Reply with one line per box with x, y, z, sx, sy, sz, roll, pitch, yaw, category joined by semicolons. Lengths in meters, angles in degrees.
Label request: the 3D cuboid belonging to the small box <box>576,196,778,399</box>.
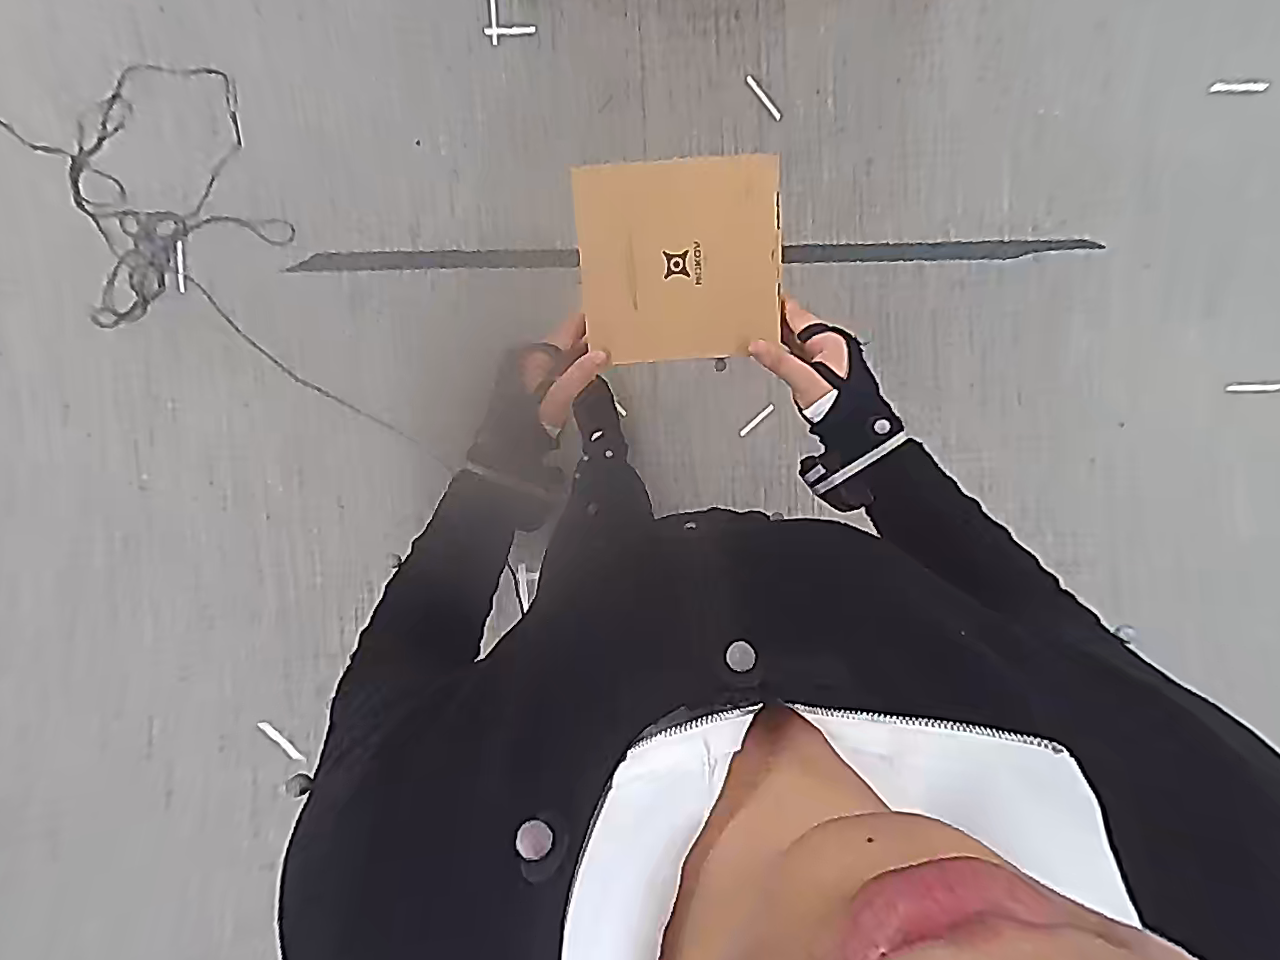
0.034;-0.178;0.560;0.179;0.176;0.168;-5;102;0;small box
